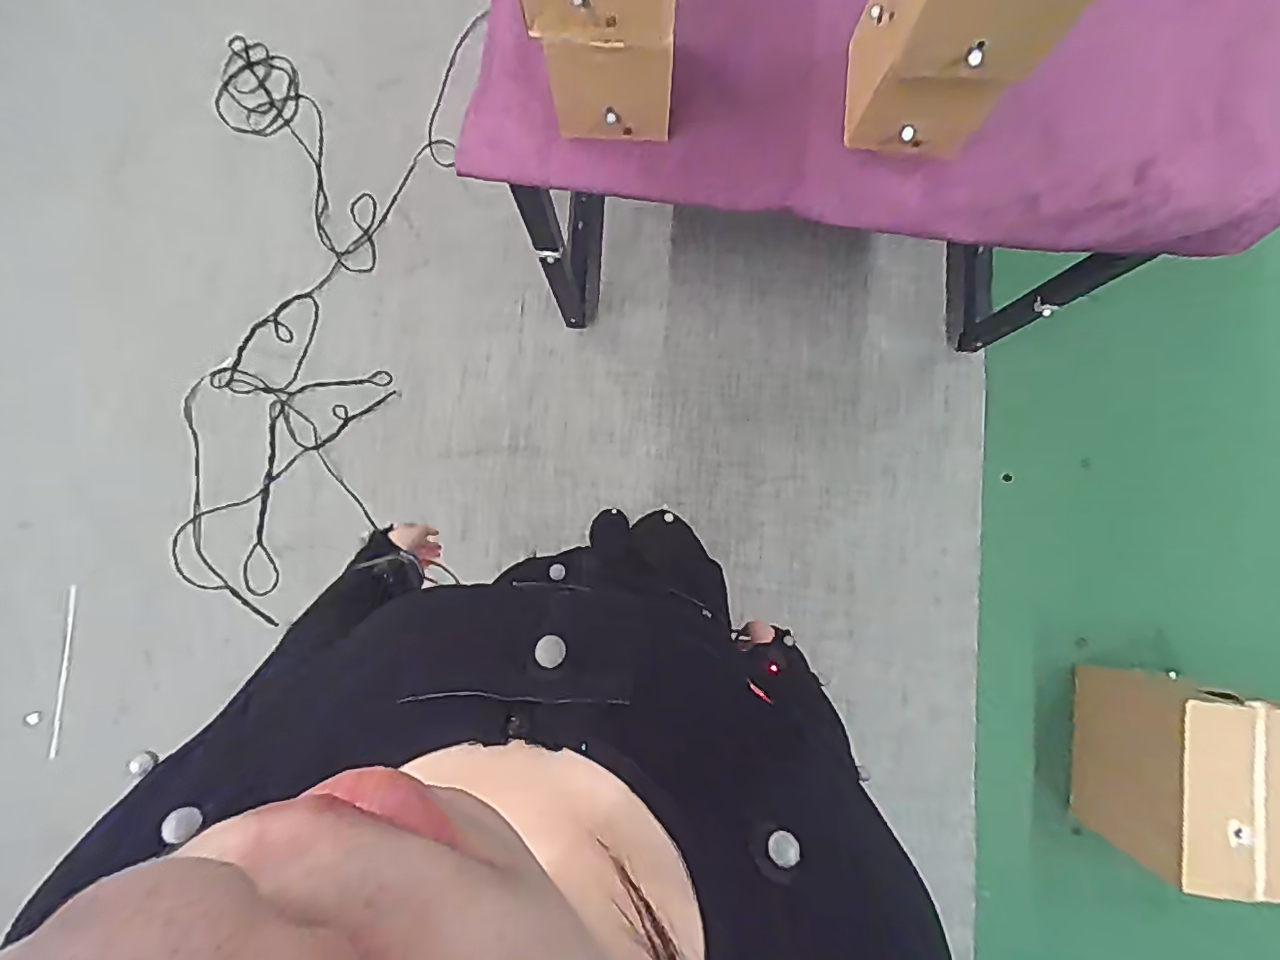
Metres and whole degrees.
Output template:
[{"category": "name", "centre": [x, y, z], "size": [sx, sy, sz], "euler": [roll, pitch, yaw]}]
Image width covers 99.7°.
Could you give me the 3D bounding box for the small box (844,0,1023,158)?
[{"category": "small box", "centre": [0.395, -0.588, 0.746], "size": [0.168, 0.176, 0.179], "euler": [5, 86, 1]}]

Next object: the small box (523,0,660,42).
[{"category": "small box", "centre": [-0.054, -0.632, 0.587], "size": [0.168, 0.176, 0.179], "euler": [3, 84, 0]}]

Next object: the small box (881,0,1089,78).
[{"category": "small box", "centre": [0.384, -0.574, 0.580], "size": [0.179, 0.176, 0.168], "euler": [2, 86, 1]}]

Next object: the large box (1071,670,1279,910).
[{"category": "large box", "centre": [1.304, 0.706, 1.295], "size": [0.320, 0.320, 0.408], "euler": [6, 86, 1]}]

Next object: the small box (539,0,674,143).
[{"category": "small box", "centre": [-0.039, -0.609, 0.747], "size": [0.168, 0.176, 0.179], "euler": [3, 84, 1]}]
